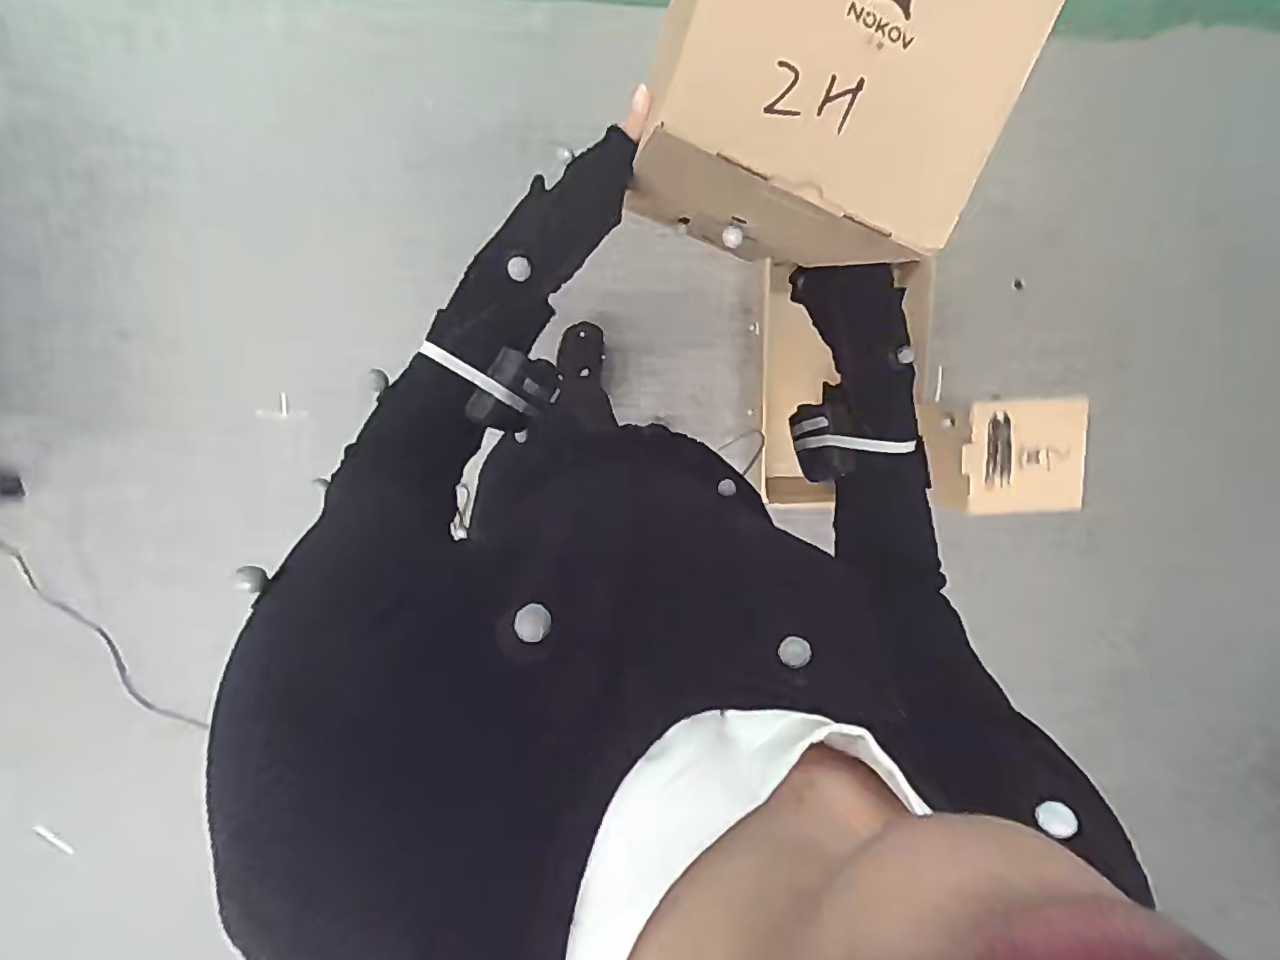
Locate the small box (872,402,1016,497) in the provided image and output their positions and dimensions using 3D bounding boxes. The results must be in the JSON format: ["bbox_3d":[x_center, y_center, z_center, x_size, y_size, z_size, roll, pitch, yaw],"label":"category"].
[{"bbox_3d":[0.564,-0.062,1.027,0.179,0.176,0.168,0,98,-3],"label":"small box"}]

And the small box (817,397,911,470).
[{"bbox_3d":[0.552,-0.116,1.351,0.179,0.176,0.168,-5,96,-3],"label":"small box"}]

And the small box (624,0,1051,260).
[{"bbox_3d":[0.096,-0.248,0.323,0.168,0.176,0.179,16,107,-14],"label":"small box"}]

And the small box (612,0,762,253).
[{"bbox_3d":[0.080,-0.316,0.473,0.168,0.176,0.179,15,107,-14],"label":"small box"}]
